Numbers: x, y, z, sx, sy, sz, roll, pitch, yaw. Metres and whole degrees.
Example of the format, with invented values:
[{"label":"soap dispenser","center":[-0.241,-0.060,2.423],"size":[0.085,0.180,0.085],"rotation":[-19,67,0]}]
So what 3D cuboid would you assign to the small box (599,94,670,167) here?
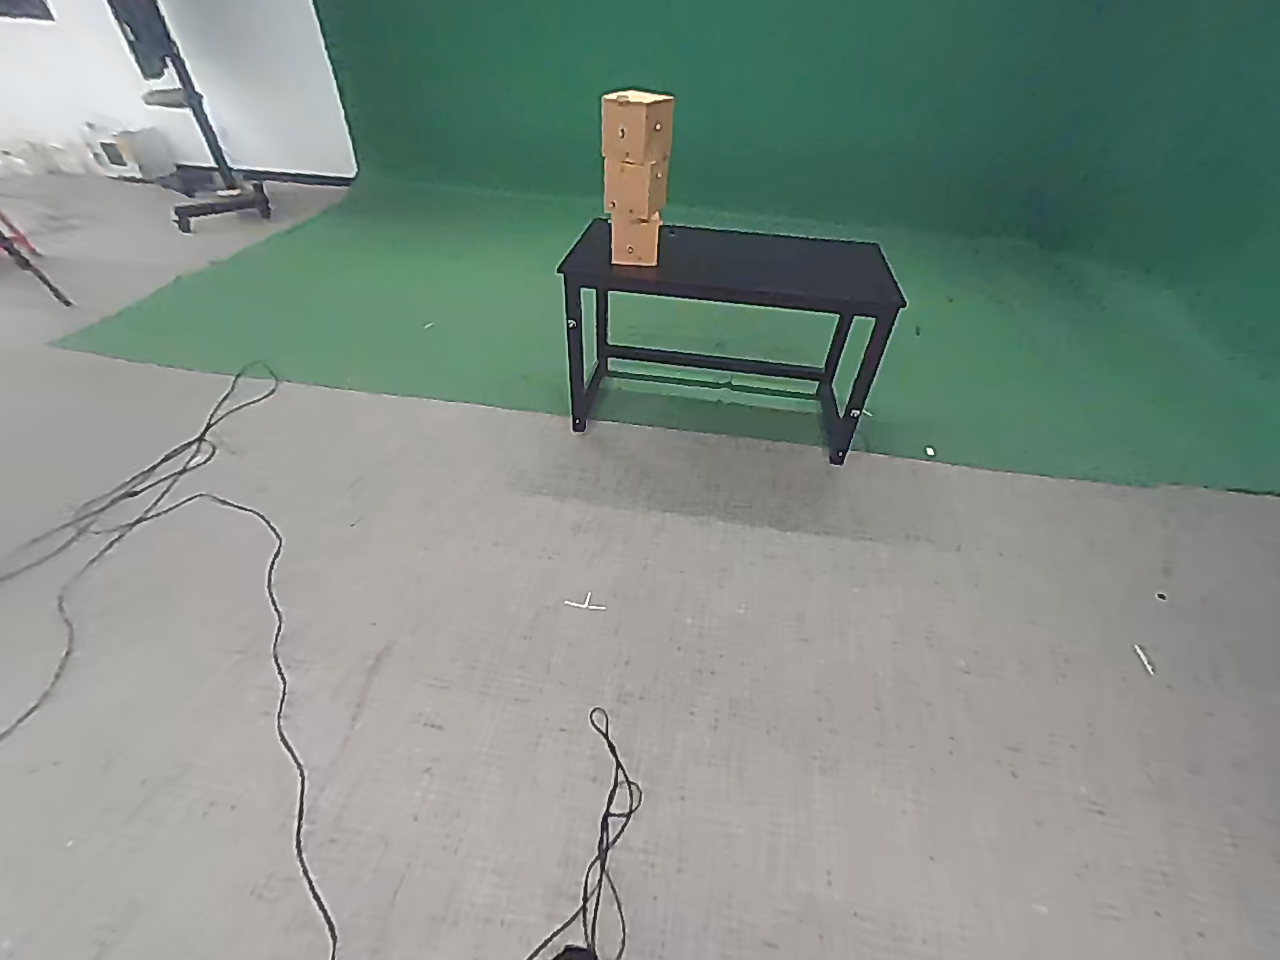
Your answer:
[{"label":"small box","center":[-0.017,-1.143,1.769],"size":[0.168,0.176,0.179],"rotation":[26,48,21]}]

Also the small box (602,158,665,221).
[{"label":"small box","center":[-0.023,-1.017,1.875],"size":[0.168,0.176,0.179],"rotation":[17,44,14]}]

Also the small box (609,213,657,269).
[{"label":"small box","center":[-0.026,-0.895,1.984],"size":[0.168,0.176,0.179],"rotation":[2,43,-2]}]
